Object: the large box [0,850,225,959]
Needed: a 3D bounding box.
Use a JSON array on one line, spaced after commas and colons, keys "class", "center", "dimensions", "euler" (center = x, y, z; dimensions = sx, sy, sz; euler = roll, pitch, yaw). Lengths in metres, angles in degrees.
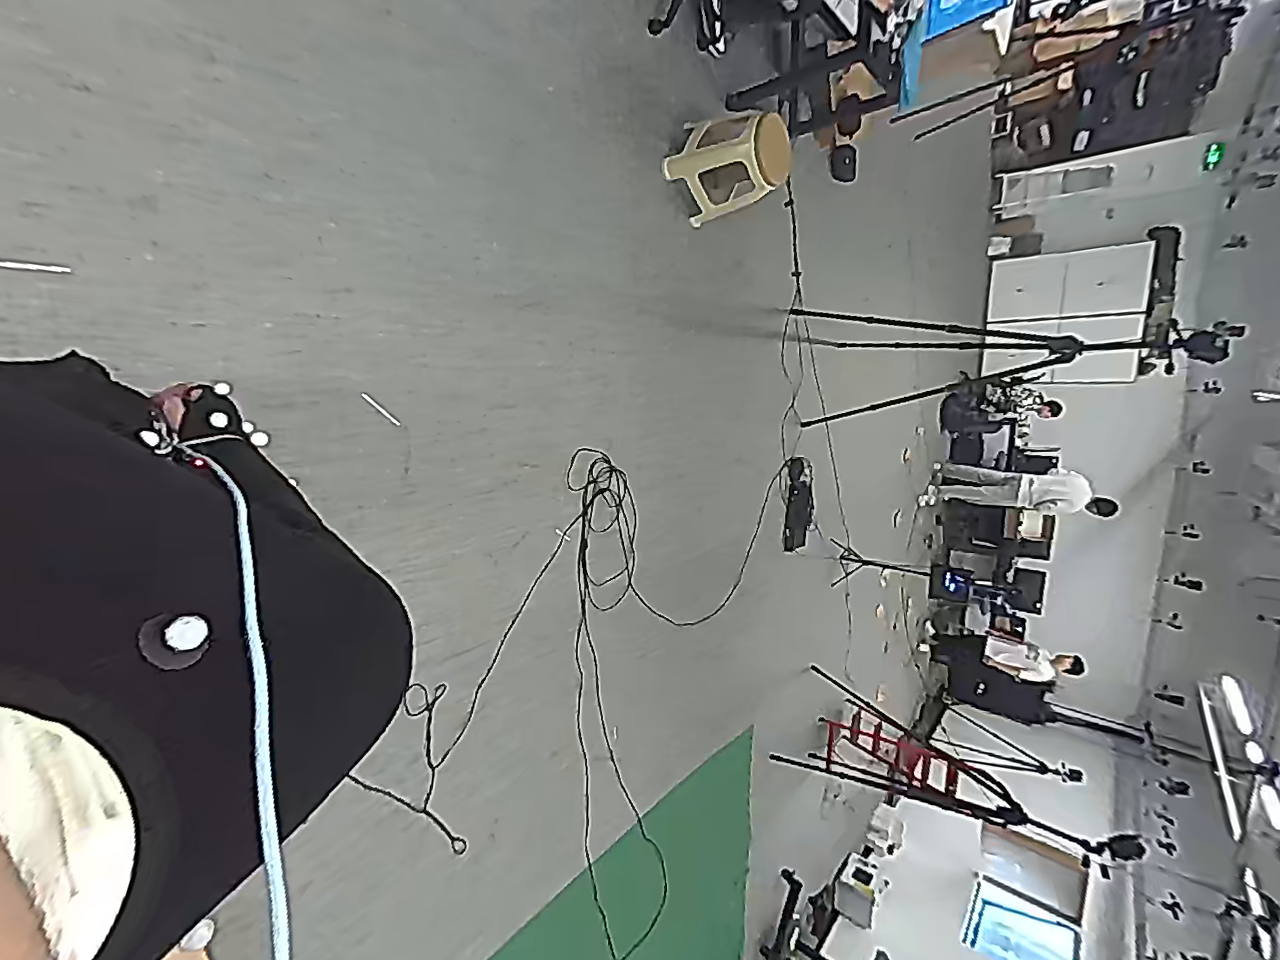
[{"class": "large box", "center": [-1.181, 1.140, 1.170], "dimensions": [0.408, 0.320, 0.320], "euler": [-22, 112, -44]}]
